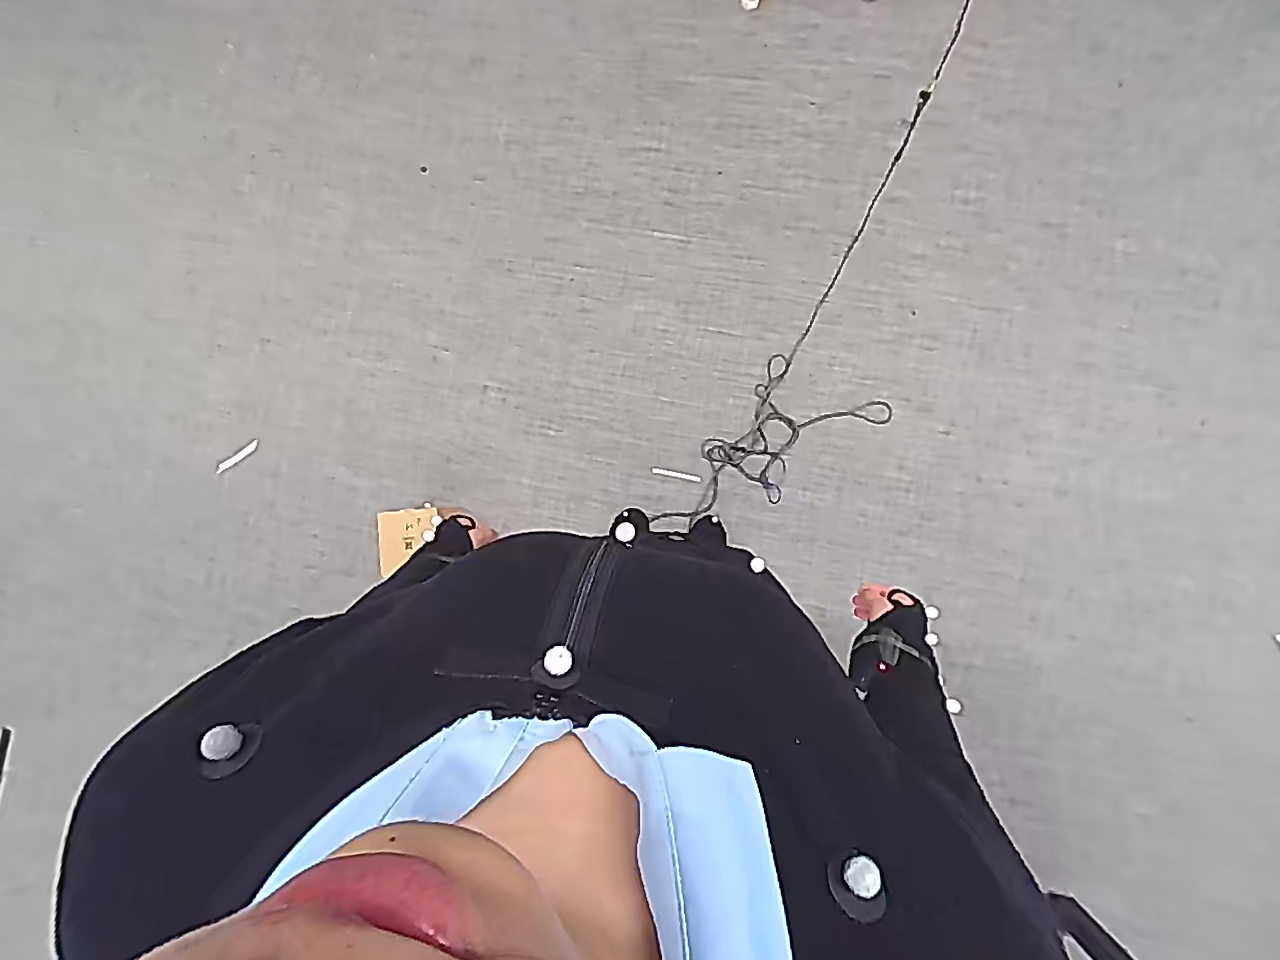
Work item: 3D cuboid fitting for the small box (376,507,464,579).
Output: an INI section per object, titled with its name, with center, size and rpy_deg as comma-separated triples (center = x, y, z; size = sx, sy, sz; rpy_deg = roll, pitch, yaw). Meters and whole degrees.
[small box]
center = -0.593, 0.166, 1.474
size = 0.168, 0.176, 0.179
rpy_deg = -5, 86, 5
